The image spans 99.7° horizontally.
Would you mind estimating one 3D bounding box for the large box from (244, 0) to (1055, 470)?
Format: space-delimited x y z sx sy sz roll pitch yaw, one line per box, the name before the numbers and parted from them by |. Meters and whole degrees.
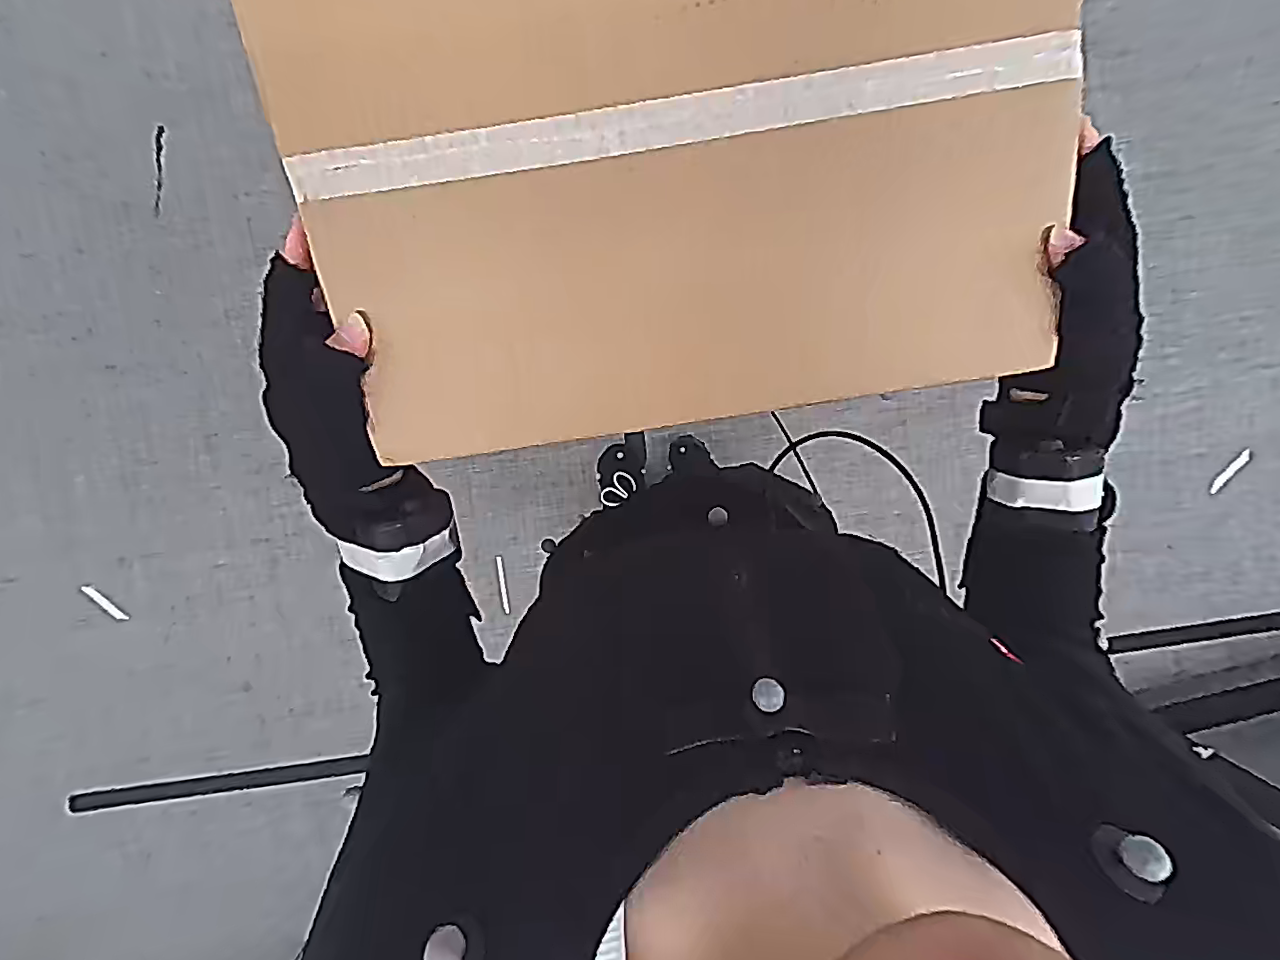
large box | 0.013 -0.228 0.428 0.408 0.320 0.320 -9 108 1
